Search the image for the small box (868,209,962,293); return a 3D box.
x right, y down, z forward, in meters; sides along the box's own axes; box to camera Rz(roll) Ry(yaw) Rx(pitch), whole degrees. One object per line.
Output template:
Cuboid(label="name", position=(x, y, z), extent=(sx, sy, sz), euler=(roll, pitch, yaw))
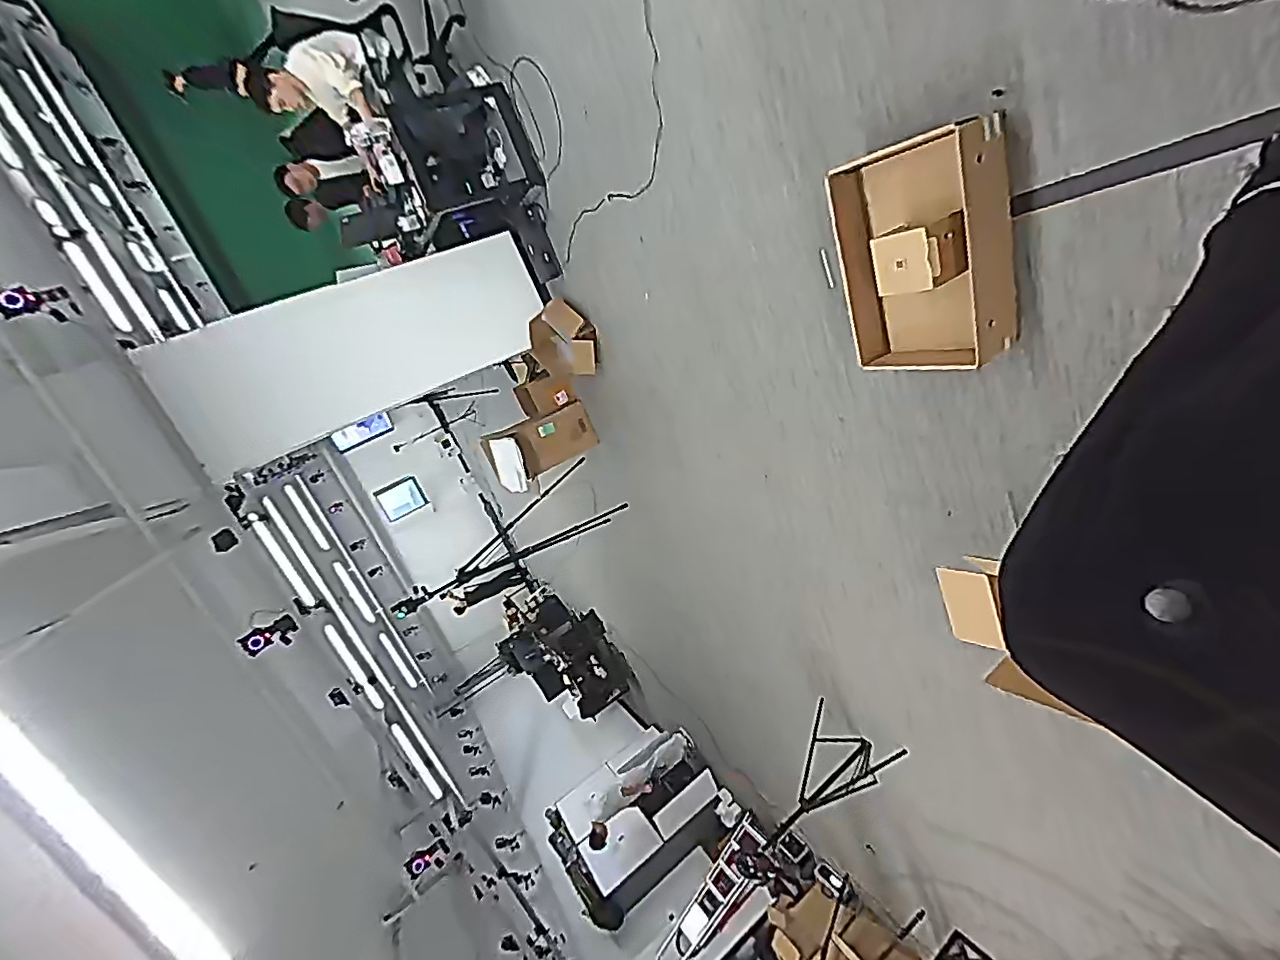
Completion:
Cuboid(label="small box", position=(0.783, -0.645, 1.529), extent=(0.179, 0.176, 0.168), euler=(19, 134, 58))
